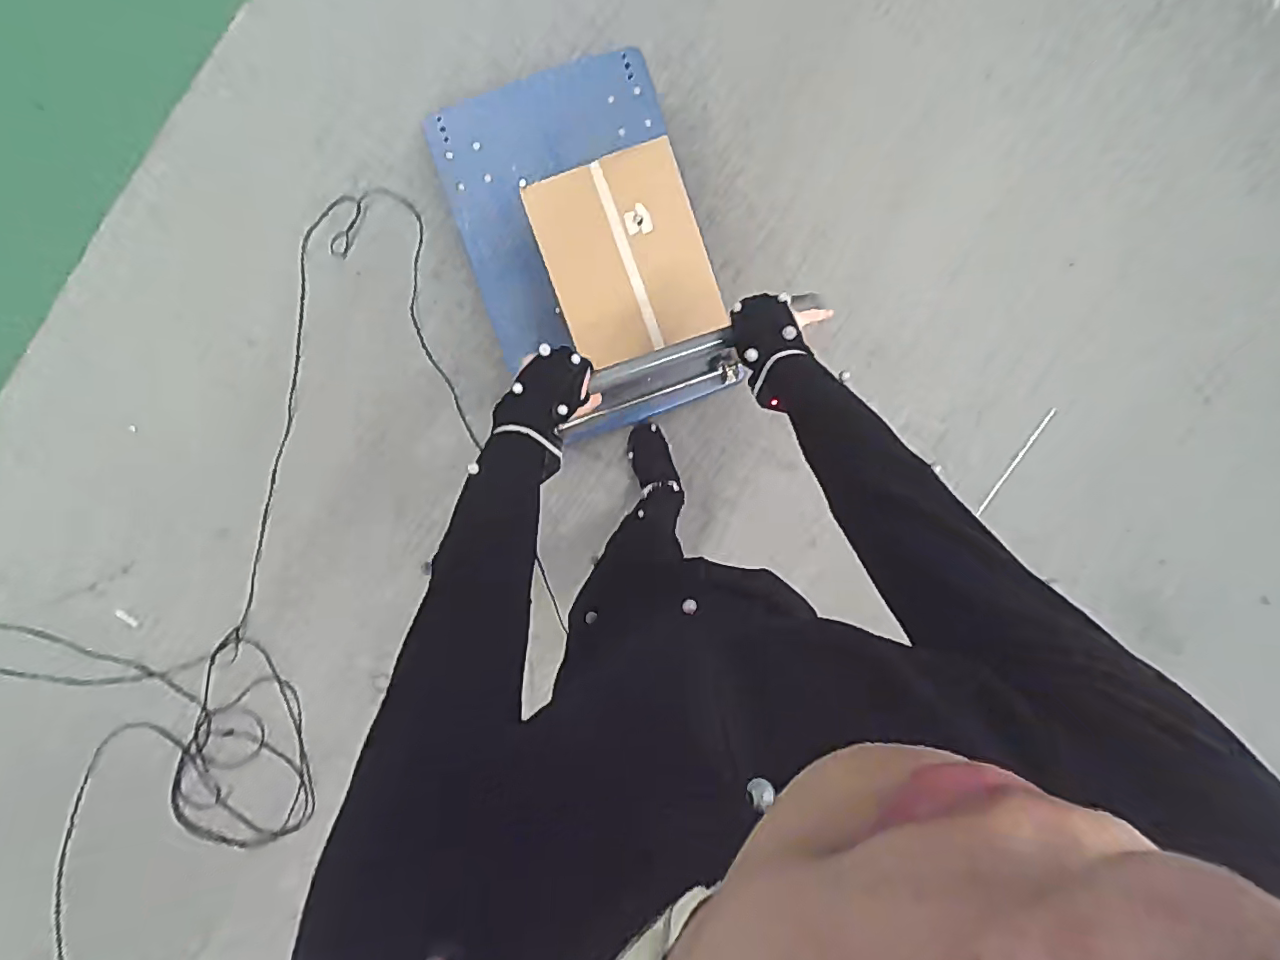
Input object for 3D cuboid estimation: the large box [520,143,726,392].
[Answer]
[{"bbox_3d":[-0.034,-0.453,1.251,0.320,0.320,0.408,-20,94,-1],"label":"large box"}]
